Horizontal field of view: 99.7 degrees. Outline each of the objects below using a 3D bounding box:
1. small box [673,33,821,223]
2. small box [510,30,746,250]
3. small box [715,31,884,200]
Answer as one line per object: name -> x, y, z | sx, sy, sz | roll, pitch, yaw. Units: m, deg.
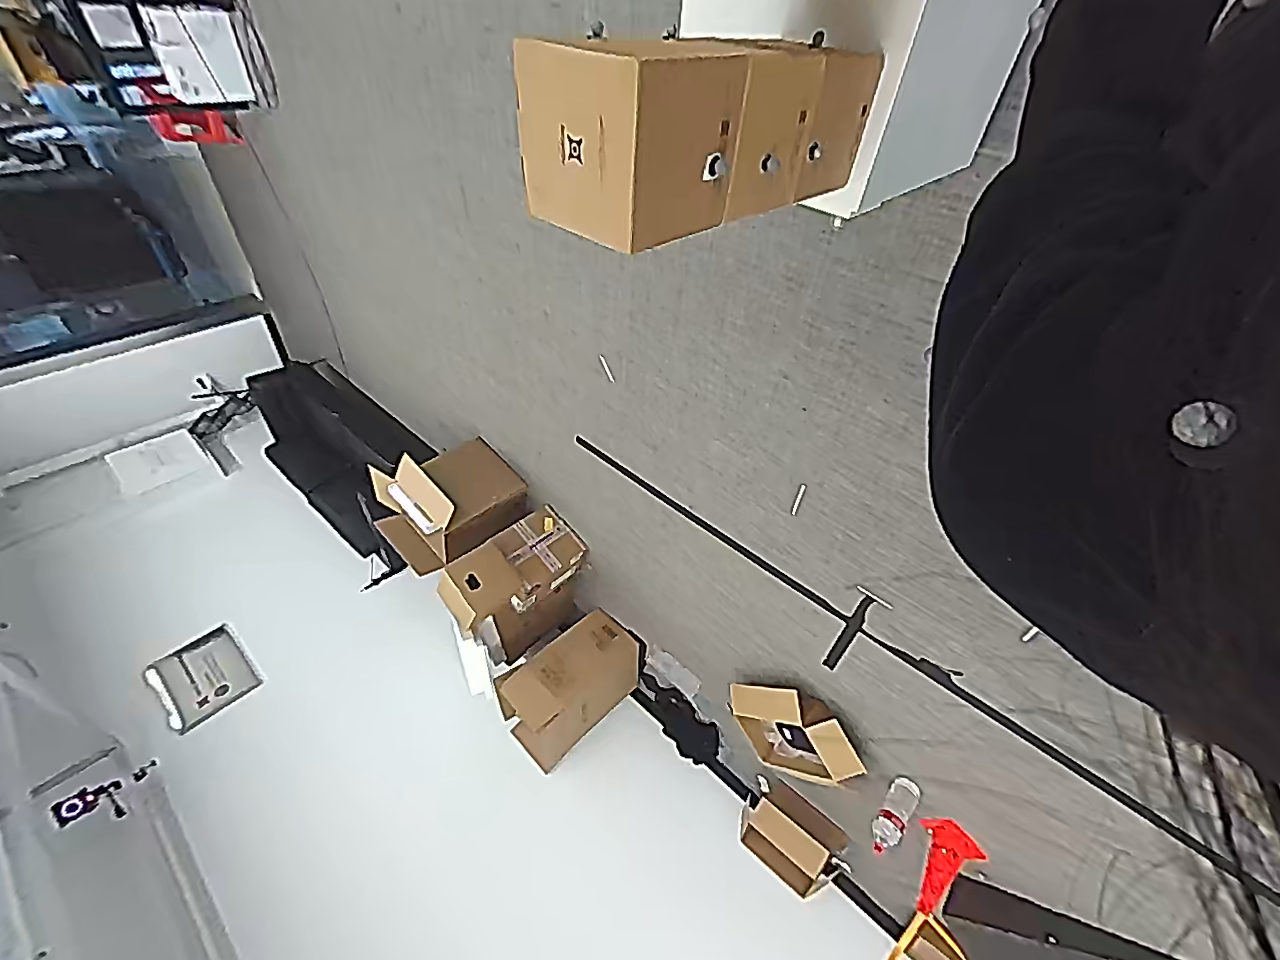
small box -> 0.098, -0.447, 0.678 | 0.179, 0.176, 0.168 | 34, 140, 28
small box -> -0.014, -0.373, 0.586 | 0.179, 0.176, 0.168 | 33, 141, 28
small box -> 0.207, -0.523, 0.771 | 0.179, 0.176, 0.168 | 36, 142, 28
